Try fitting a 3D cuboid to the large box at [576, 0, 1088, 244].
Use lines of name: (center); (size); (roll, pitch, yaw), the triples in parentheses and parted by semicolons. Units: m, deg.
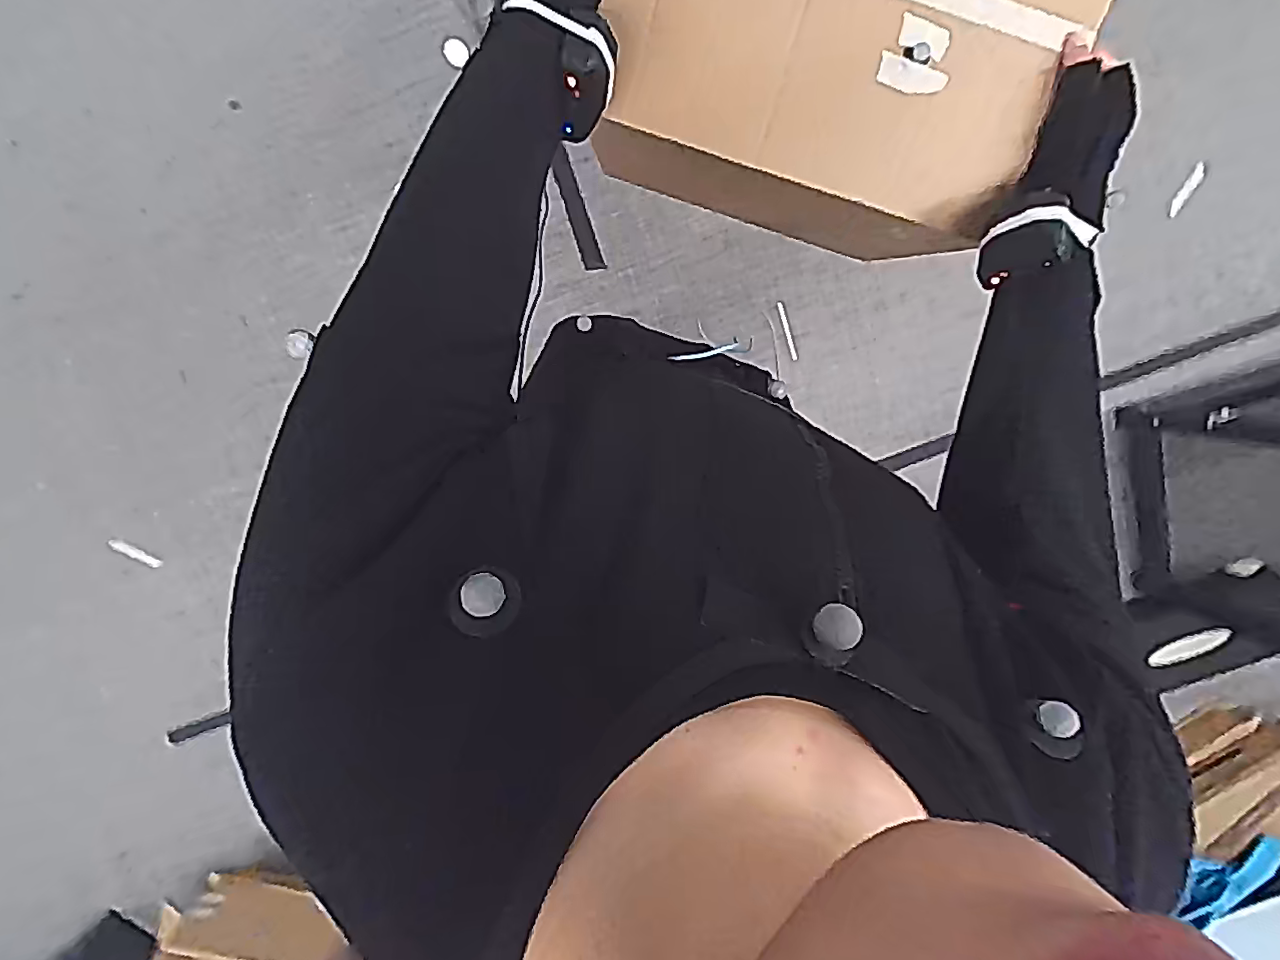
large box: (0.171, -0.475, 0.578); (0.408, 0.320, 0.320); (15, 111, -5)
